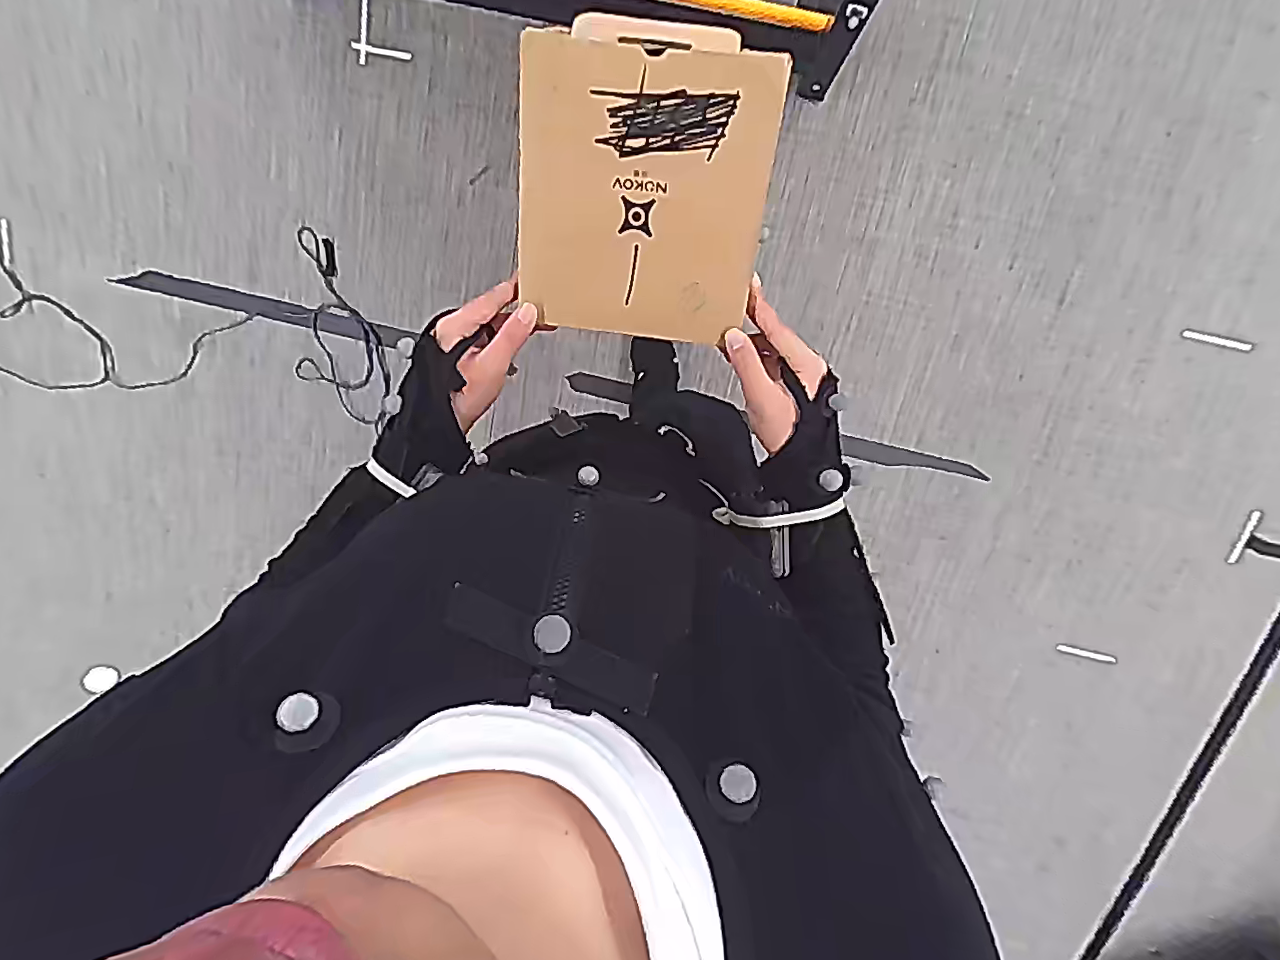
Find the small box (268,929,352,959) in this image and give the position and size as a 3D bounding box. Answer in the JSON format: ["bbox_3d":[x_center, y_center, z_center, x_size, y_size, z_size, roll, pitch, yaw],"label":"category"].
[{"bbox_3d":[-0.825,1.235,1.298,0.179,0.176,0.168,15,105,0],"label":"small box"}]

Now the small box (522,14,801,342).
[{"bbox_3d":[0.013,-0.220,0.428,0.168,0.176,0.179,8,114,2],"label":"small box"}]

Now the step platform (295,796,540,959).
[{"bbox_3d":[-0.660,1.205,1.627,0.684,0.204,0.286,12,105,0],"label":"step platform"}]
